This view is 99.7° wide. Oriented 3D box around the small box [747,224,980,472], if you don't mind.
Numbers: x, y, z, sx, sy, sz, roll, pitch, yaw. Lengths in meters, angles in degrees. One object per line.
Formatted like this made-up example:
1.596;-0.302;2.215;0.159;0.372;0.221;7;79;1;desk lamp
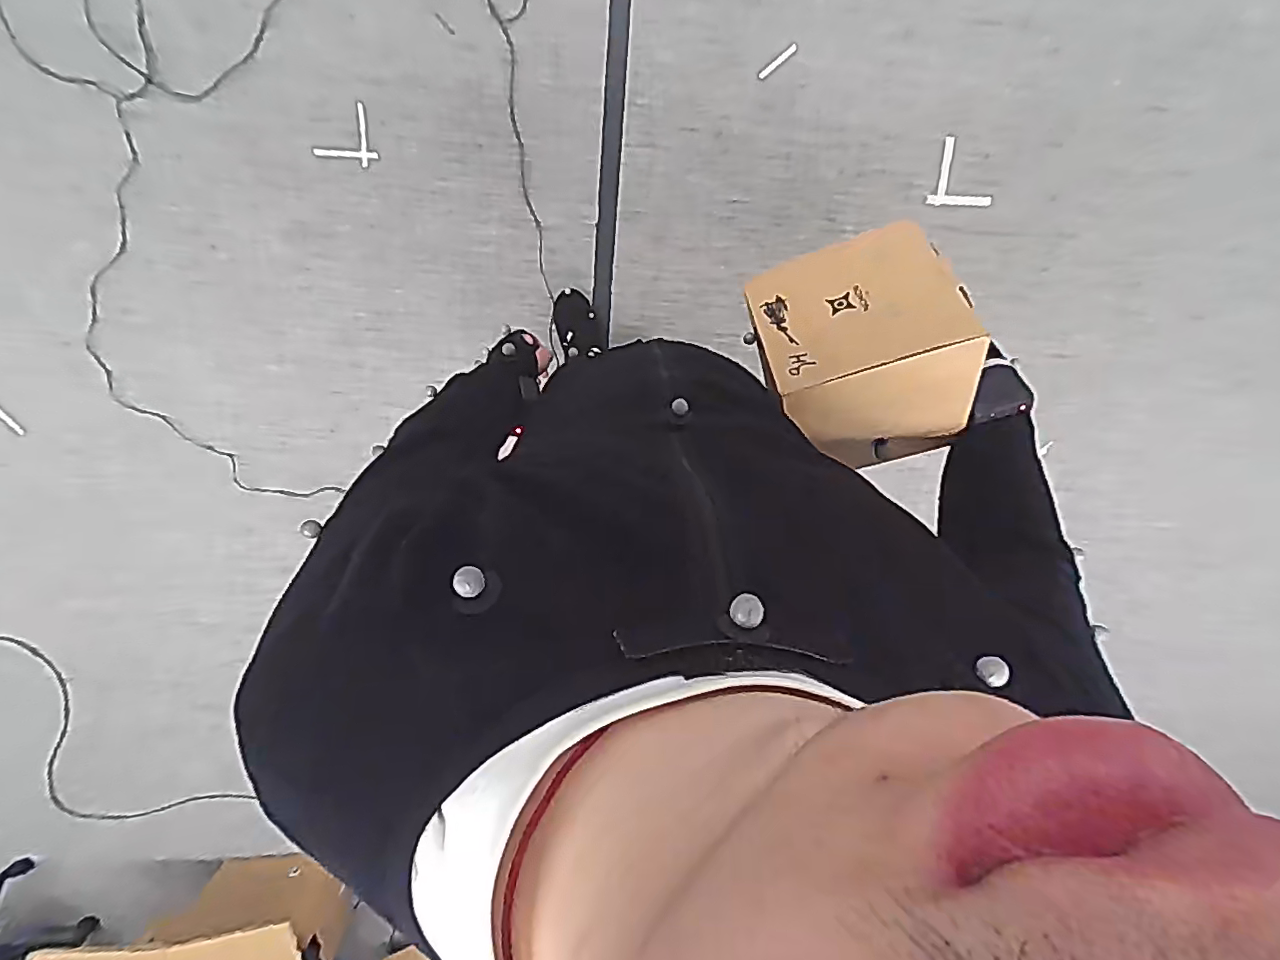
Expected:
0.227;-0.132;0.586;0.179;0.168;0.176;-15;146;13;small box
